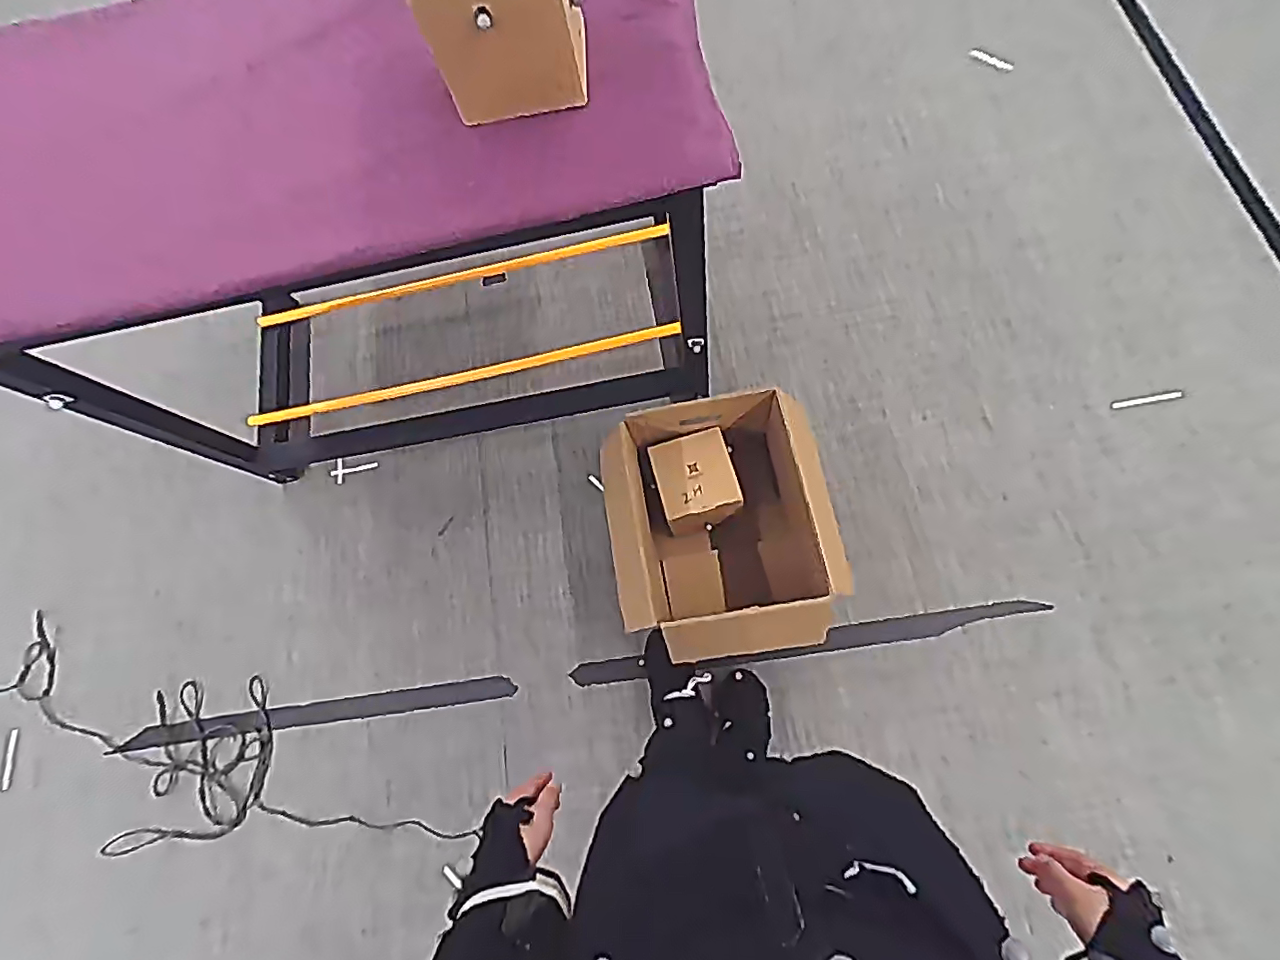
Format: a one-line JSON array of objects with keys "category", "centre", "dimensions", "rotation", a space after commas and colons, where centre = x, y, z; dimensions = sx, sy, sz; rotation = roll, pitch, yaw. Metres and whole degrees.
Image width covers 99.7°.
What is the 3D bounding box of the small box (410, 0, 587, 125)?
[{"category": "small box", "centre": [-0.167, -0.599, 0.692], "dimensions": [0.179, 0.176, 0.168], "rotation": [-6, 72, 7]}]
